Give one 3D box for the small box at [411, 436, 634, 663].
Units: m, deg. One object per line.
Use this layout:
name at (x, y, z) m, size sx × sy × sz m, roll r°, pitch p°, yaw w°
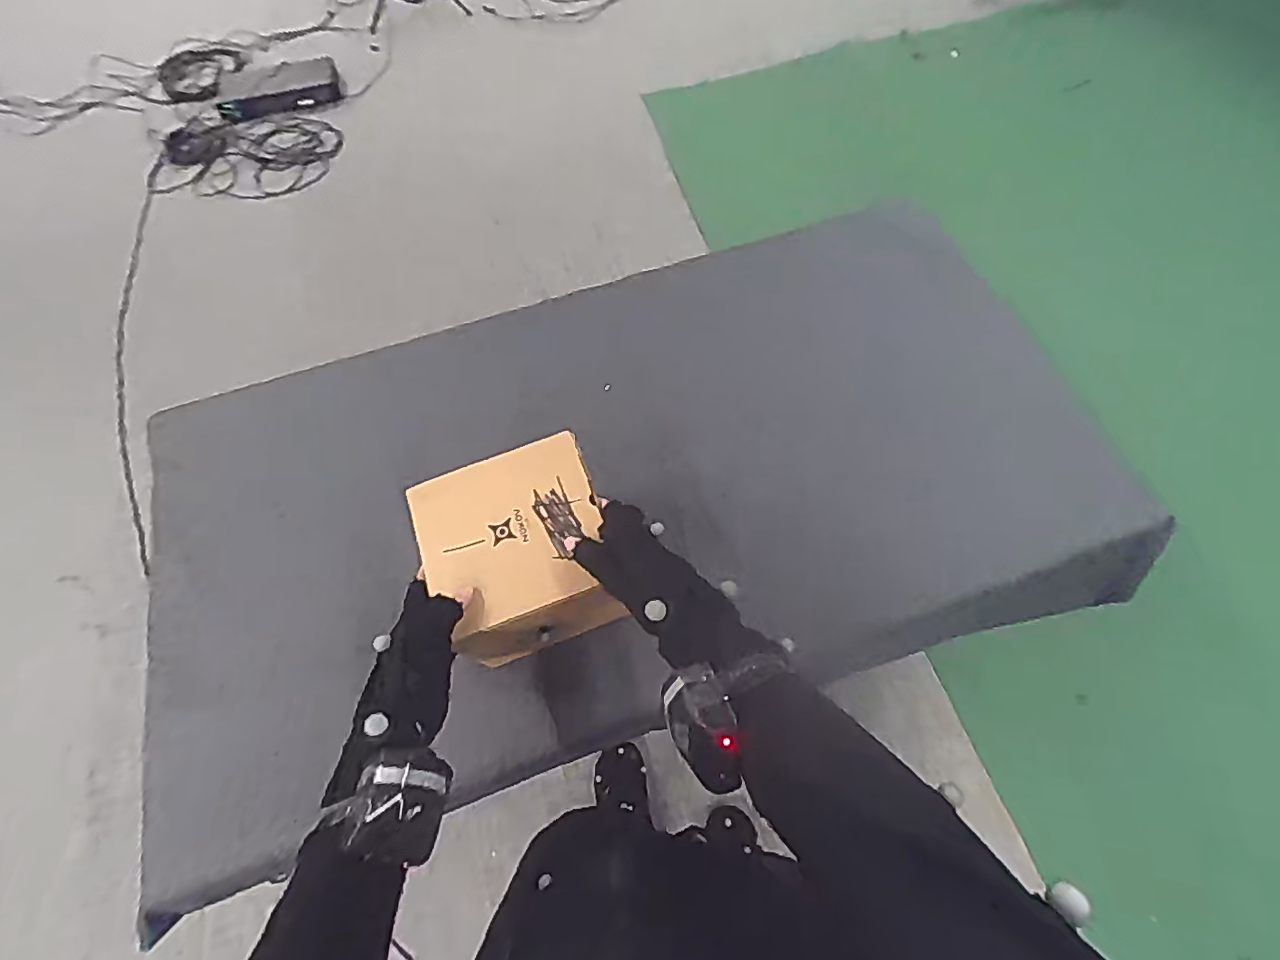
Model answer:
small box at (-0.116, 0.083, 0.590) m, size 0.179 × 0.176 × 0.168 m, roll -22°, pitch 67°, yaw -9°
